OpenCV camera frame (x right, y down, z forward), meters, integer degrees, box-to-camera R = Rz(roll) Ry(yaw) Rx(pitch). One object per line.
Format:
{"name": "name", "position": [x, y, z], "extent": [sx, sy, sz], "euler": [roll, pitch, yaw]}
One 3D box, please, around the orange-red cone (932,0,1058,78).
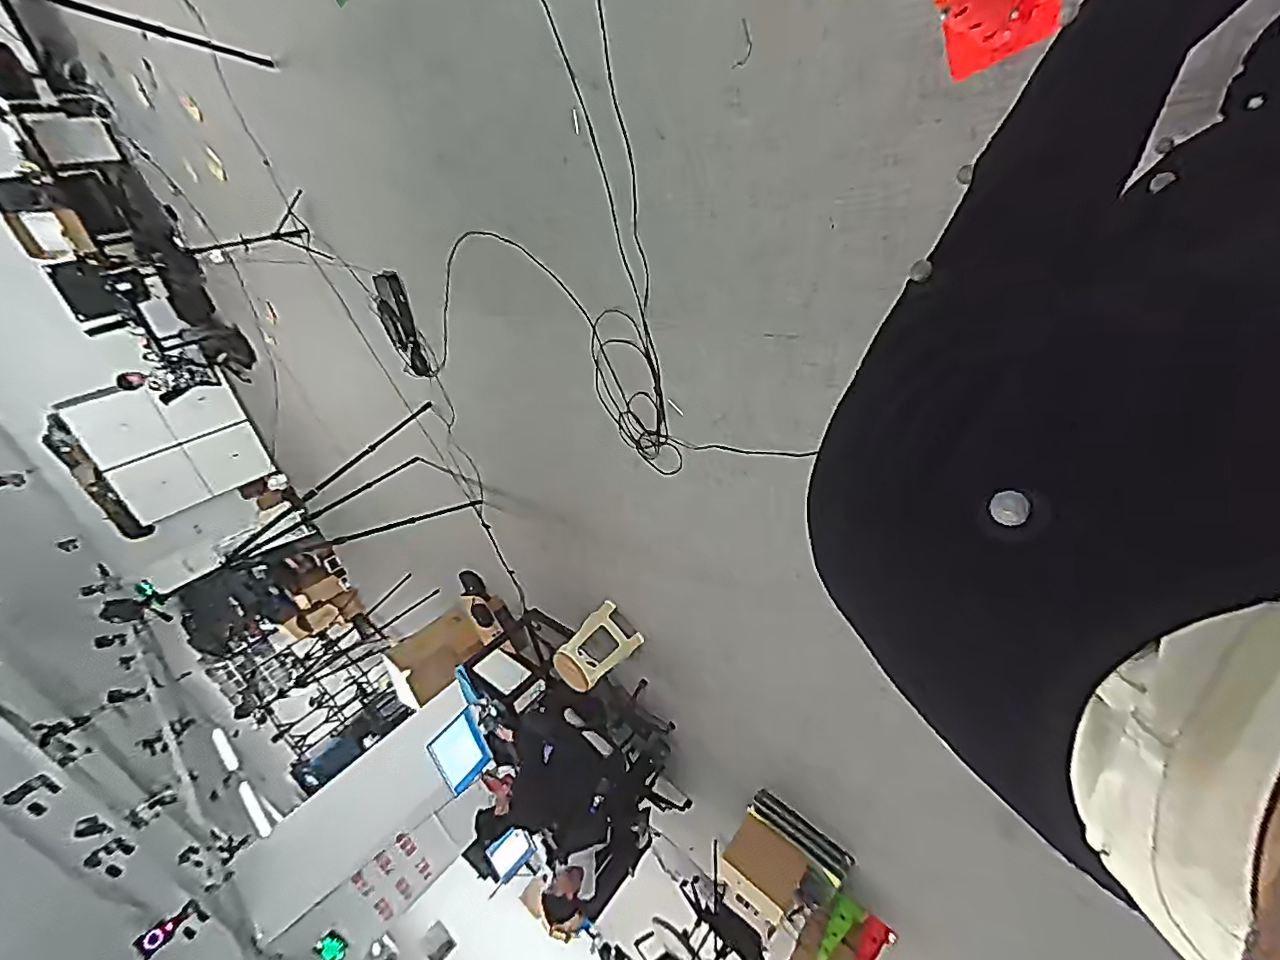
{"name": "orange-red cone", "position": [0.620, -0.894, 1.008], "extent": [0.199, 0.360, 0.198], "euler": [2, 119, 48]}
